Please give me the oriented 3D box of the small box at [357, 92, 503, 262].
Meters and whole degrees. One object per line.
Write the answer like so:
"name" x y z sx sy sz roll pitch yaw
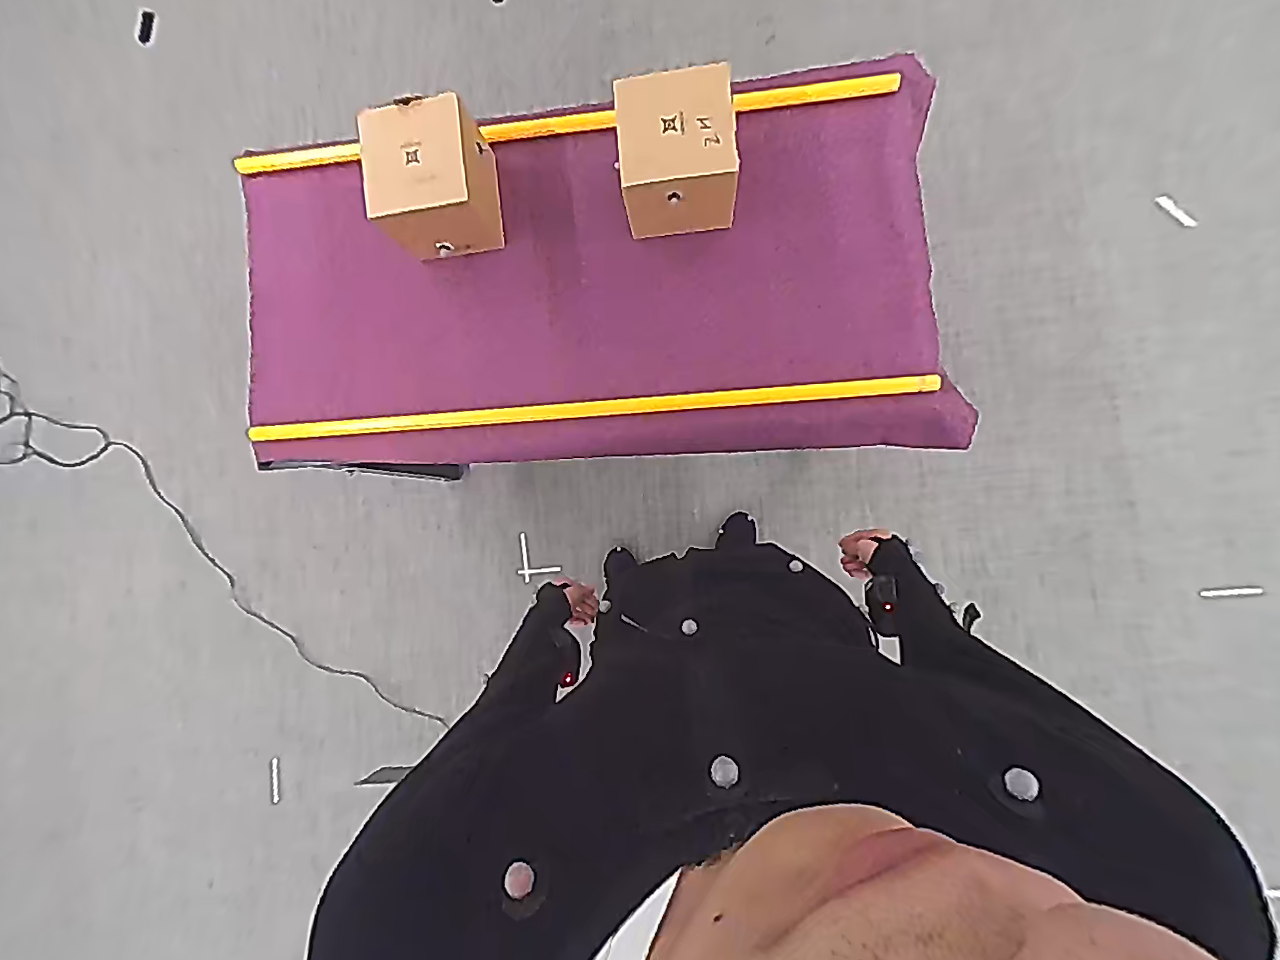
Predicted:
"small box" -0.343 -0.496 0.907 0.168 0.176 0.179 -7 87 6

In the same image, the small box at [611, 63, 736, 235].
"small box" 0.057 -0.516 0.870 0.179 0.176 0.168 -5 88 5
